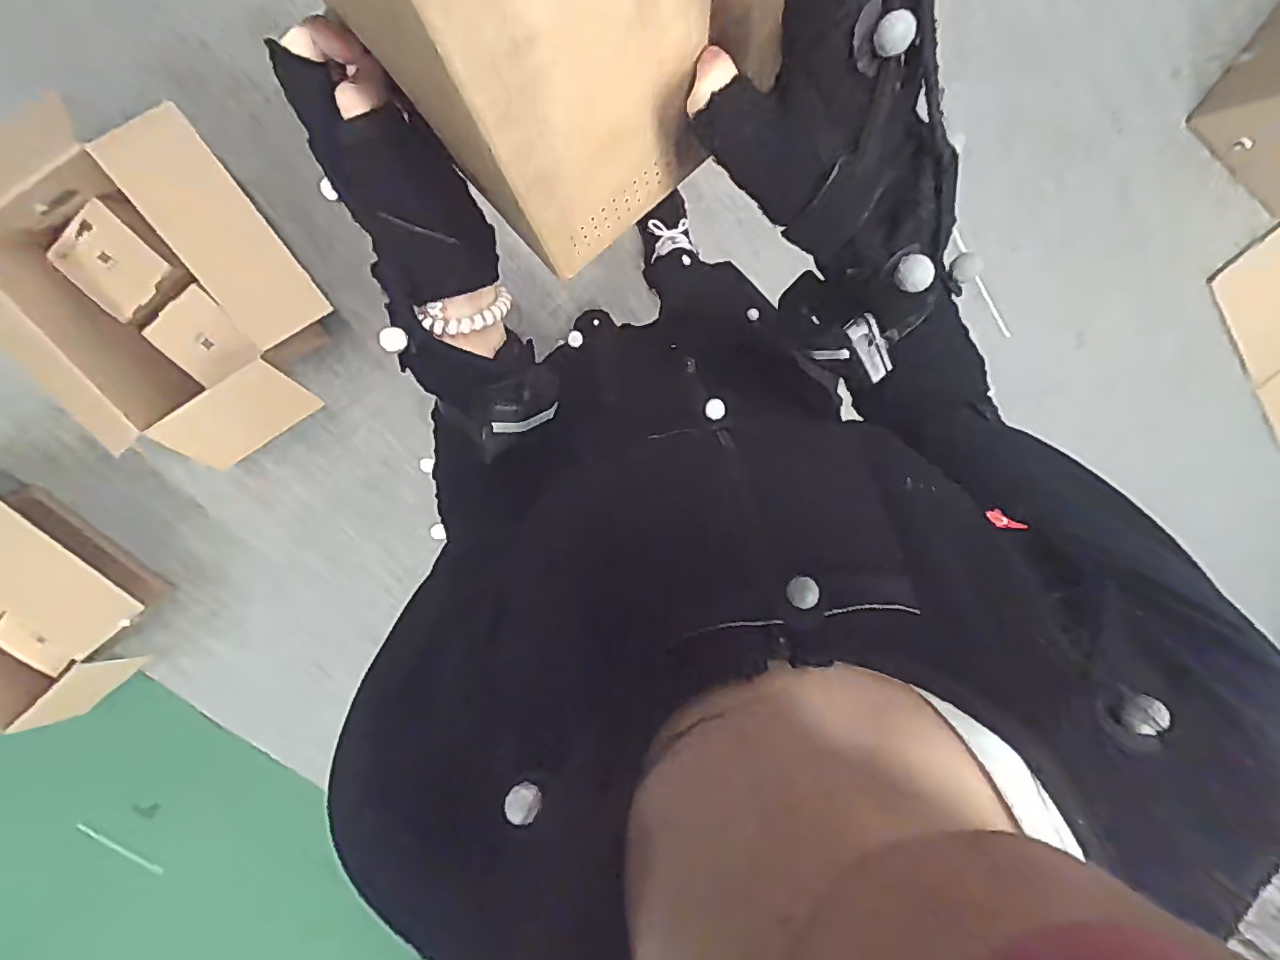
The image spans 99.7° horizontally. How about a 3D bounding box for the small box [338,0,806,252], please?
[{"bbox_3d":[-0.037,-0.232,0.212,0.179,0.176,0.168,-41,79,0],"label":"small box"}]
